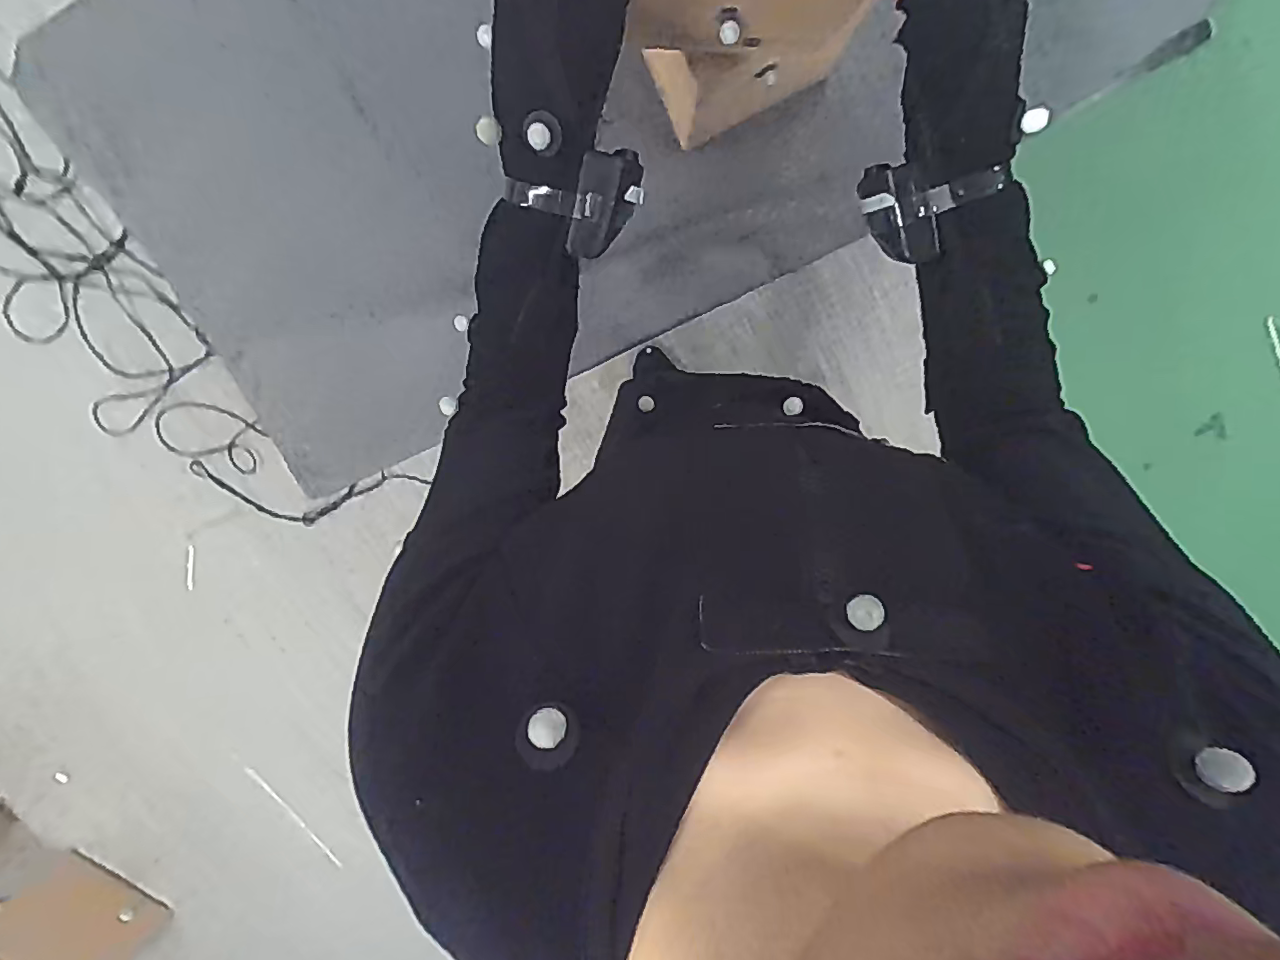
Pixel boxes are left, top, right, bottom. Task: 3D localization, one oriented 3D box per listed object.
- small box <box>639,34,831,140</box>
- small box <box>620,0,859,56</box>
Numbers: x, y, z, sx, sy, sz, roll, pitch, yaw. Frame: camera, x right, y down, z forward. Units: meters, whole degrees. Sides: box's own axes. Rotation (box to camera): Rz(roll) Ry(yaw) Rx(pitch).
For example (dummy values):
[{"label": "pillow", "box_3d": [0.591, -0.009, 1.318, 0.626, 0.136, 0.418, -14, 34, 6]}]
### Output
[{"label": "small box", "box_3d": [0.087, -0.477, 0.530, 0.179, 0.176, 0.168, -25, 103, 6]}, {"label": "small box", "box_3d": [0.070, -0.398, 0.321, 0.168, 0.176, 0.179, 2, 107, -1]}]
